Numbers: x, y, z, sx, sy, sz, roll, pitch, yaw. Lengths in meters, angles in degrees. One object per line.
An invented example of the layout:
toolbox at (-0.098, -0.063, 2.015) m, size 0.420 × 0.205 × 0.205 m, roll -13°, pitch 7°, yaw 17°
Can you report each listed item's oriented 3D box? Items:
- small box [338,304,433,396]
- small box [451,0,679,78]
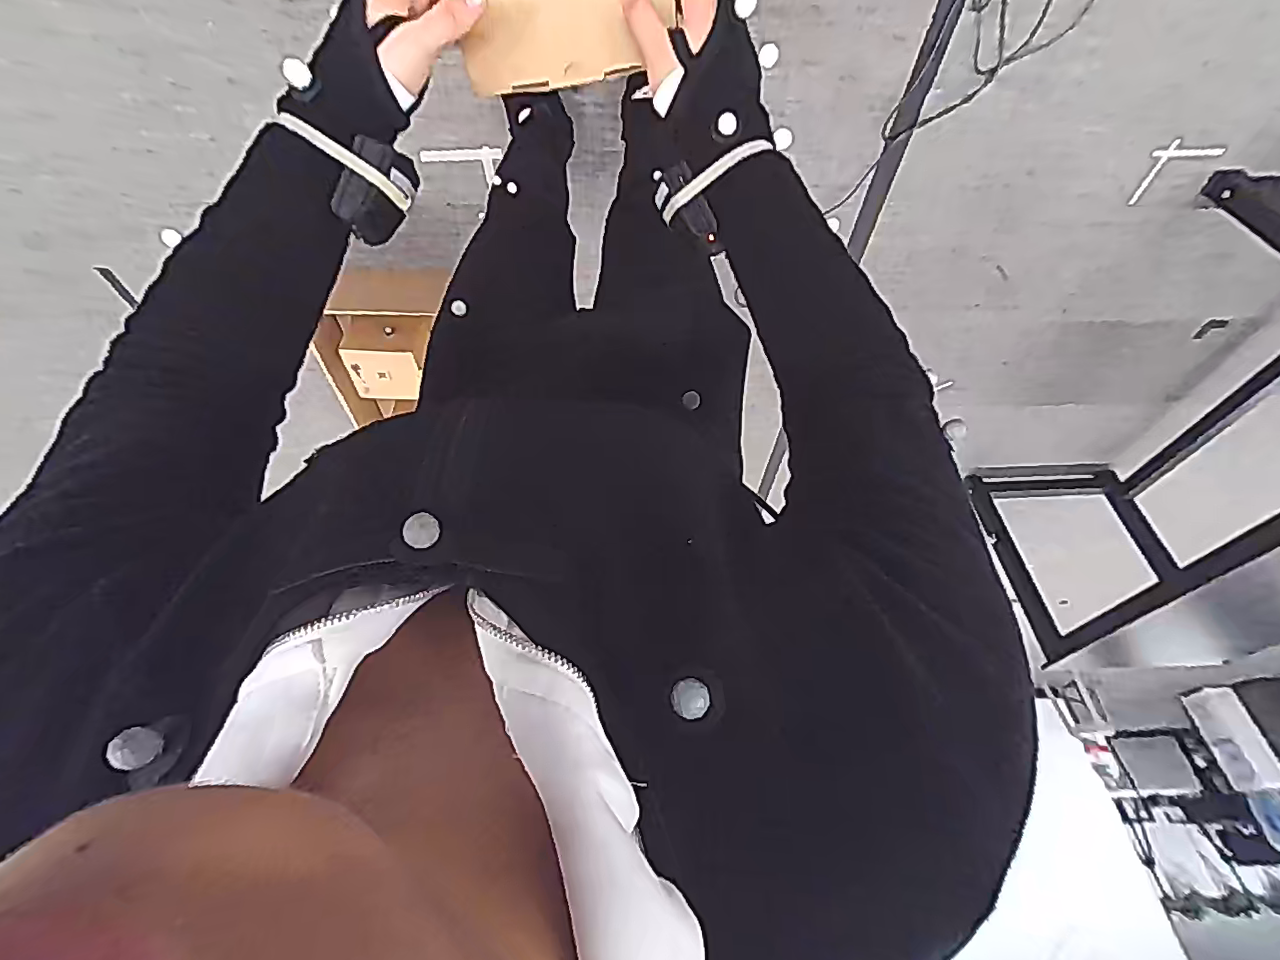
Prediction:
small box at (-0.640, -0.333, 1.386) m, size 0.179 × 0.176 × 0.168 m, roll 0°, pitch 145°, yaw -6°
small box at (-0.062, -0.439, 0.421) m, size 0.168 × 0.176 × 0.179 m, roll -6°, pitch 132°, yaw 5°
